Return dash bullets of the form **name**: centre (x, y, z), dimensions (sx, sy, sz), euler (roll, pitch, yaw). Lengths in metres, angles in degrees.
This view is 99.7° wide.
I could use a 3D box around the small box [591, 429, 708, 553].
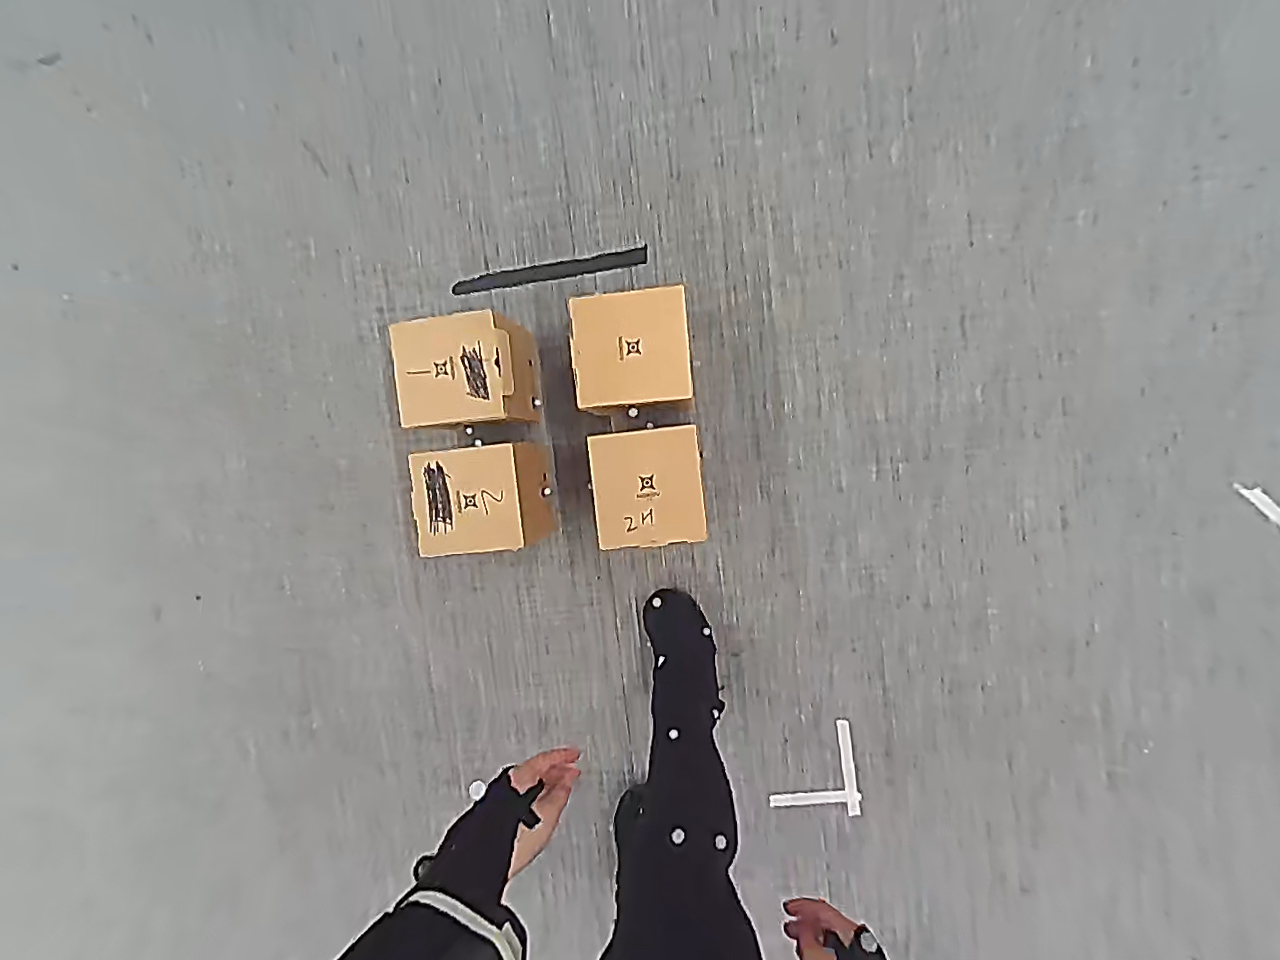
- **small box**: centre (0.021, 0.015, 0.895), dimensions (0.168, 0.176, 0.179), euler (-6, 93, 7)
